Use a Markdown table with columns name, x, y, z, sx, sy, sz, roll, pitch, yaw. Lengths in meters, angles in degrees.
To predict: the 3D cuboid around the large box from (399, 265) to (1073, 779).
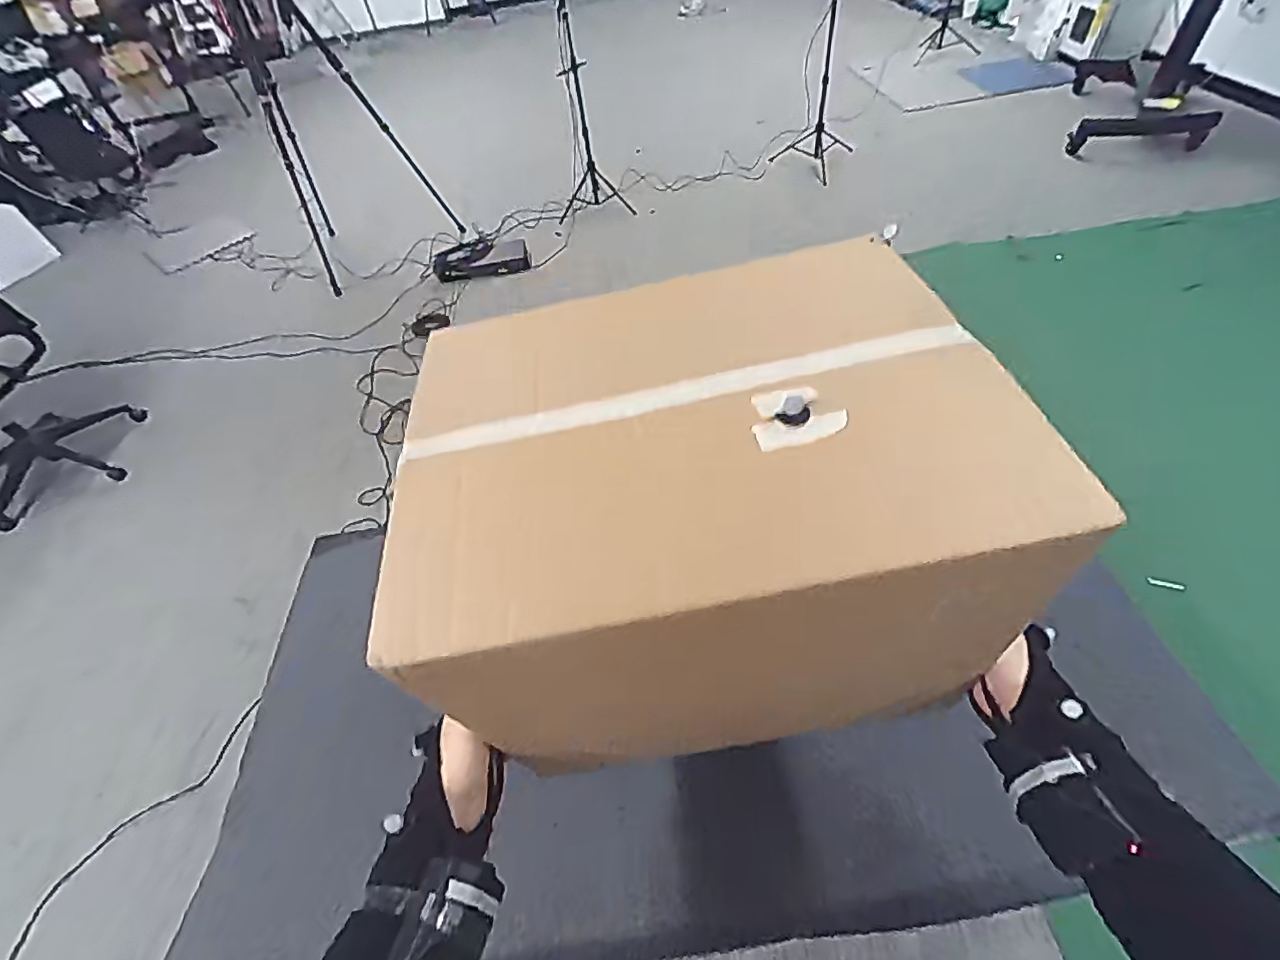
| name | x | y | z | sx | sy | sz | roll | pitch | yaw |
| --- | --- | --- | --- | --- | --- | --- | --- | --- | --- |
| large box | 0.053 | 0.051 | 0.515 | 0.408 | 0.320 | 0.320 | -12 | 51 | 2 |
